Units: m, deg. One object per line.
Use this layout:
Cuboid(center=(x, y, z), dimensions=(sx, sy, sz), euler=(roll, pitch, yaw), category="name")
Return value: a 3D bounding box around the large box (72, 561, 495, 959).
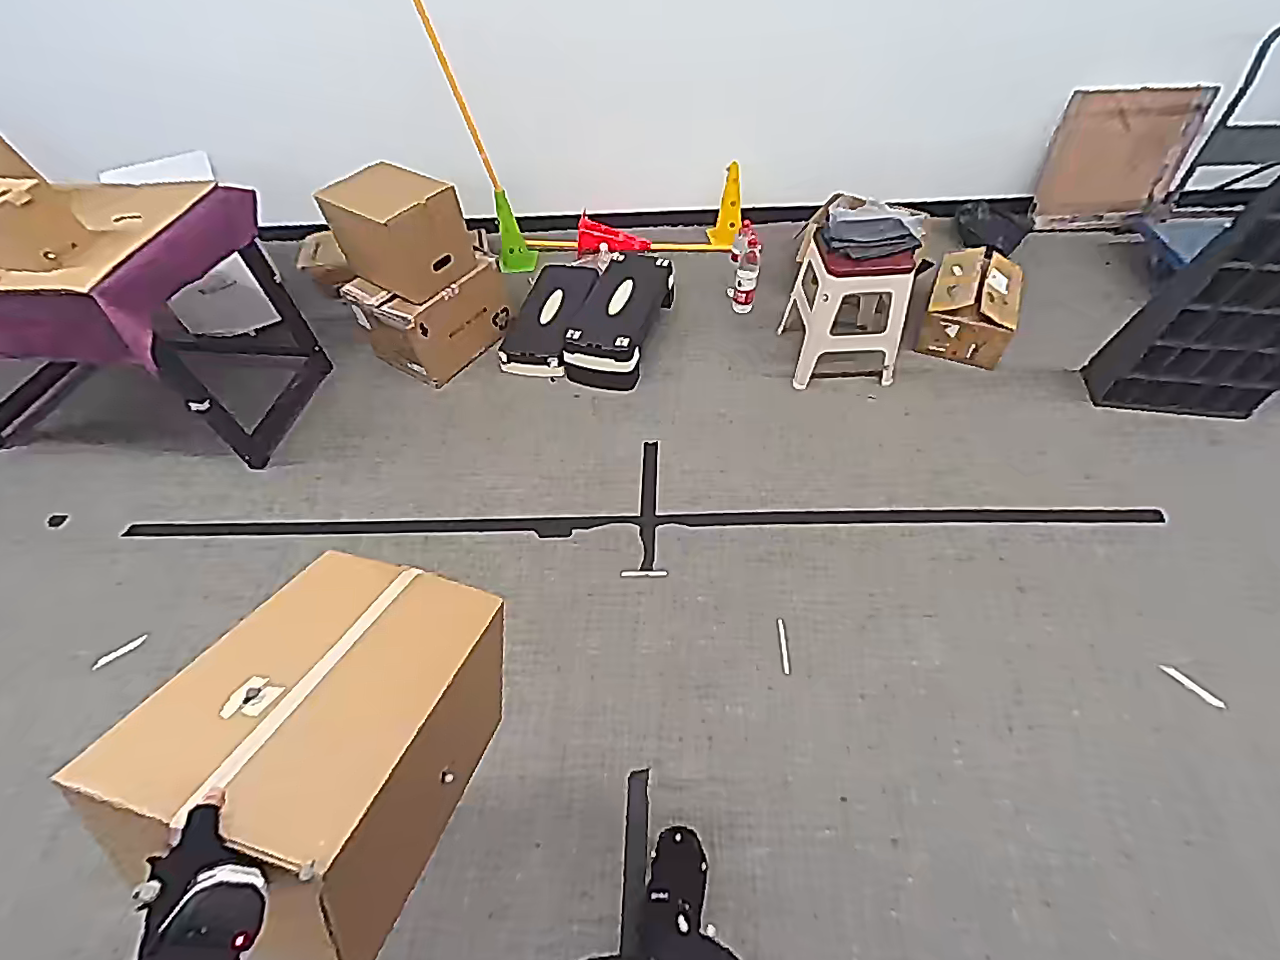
Cuboid(center=(-0.441, 0.389, 0.797), dimensions=(0.320, 0.320, 0.408), euler=(13, 30, 7), category="large box")
